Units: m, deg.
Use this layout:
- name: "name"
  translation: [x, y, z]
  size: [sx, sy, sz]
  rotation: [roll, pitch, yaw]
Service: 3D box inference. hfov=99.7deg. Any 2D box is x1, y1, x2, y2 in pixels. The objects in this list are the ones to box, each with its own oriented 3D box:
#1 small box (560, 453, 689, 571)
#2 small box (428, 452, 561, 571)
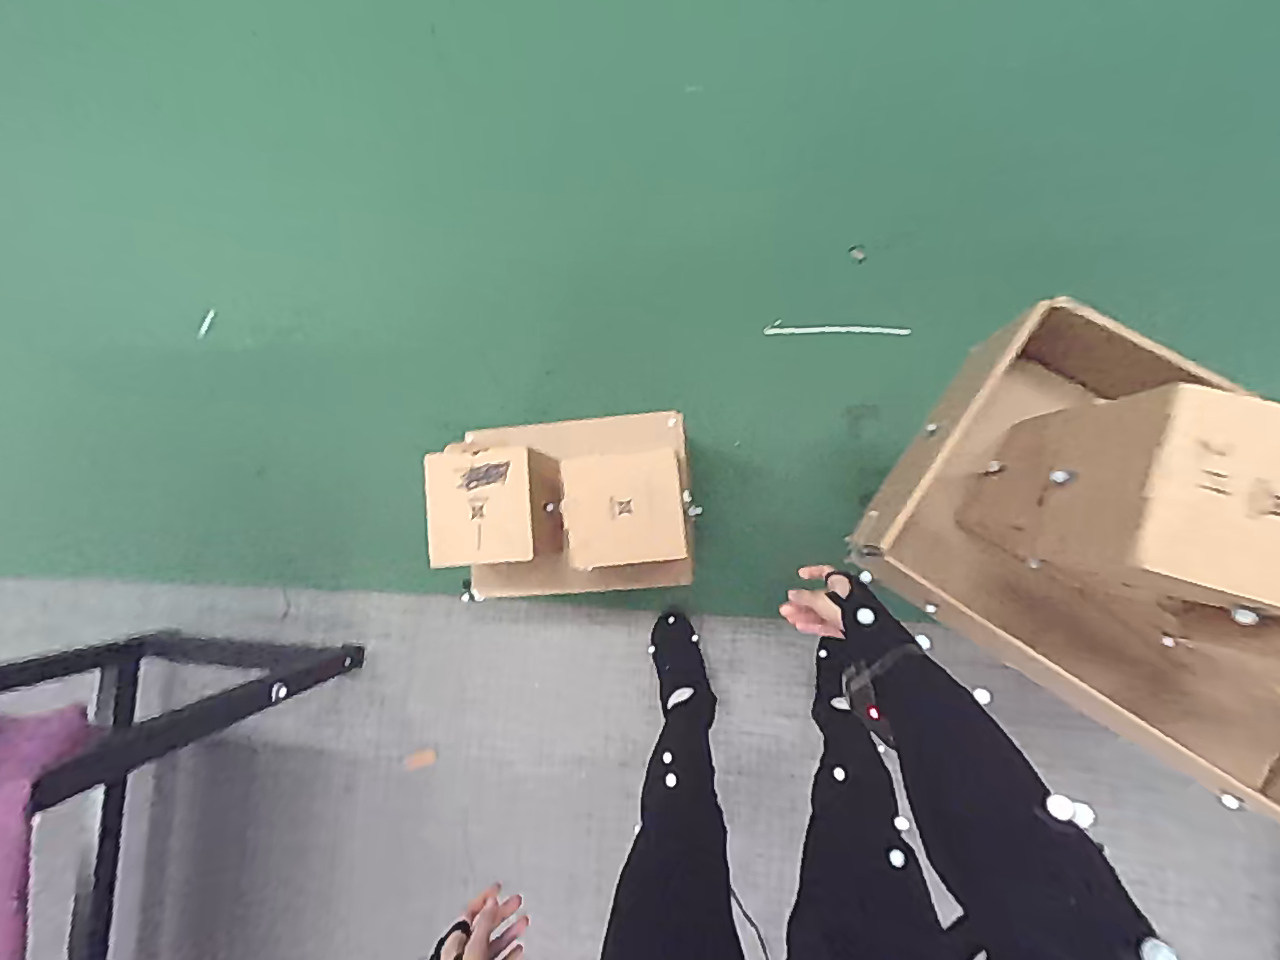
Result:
- name: "small box"
  translation: [-0.018, 0.054, 0.875]
  size: [0.179, 0.176, 0.168]
  rotation: [-6, 86, 7]
- name: "small box"
  translation: [-0.234, 0.056, 0.903]
  size: [0.168, 0.176, 0.179]
  rotation: [-5, 85, 7]
